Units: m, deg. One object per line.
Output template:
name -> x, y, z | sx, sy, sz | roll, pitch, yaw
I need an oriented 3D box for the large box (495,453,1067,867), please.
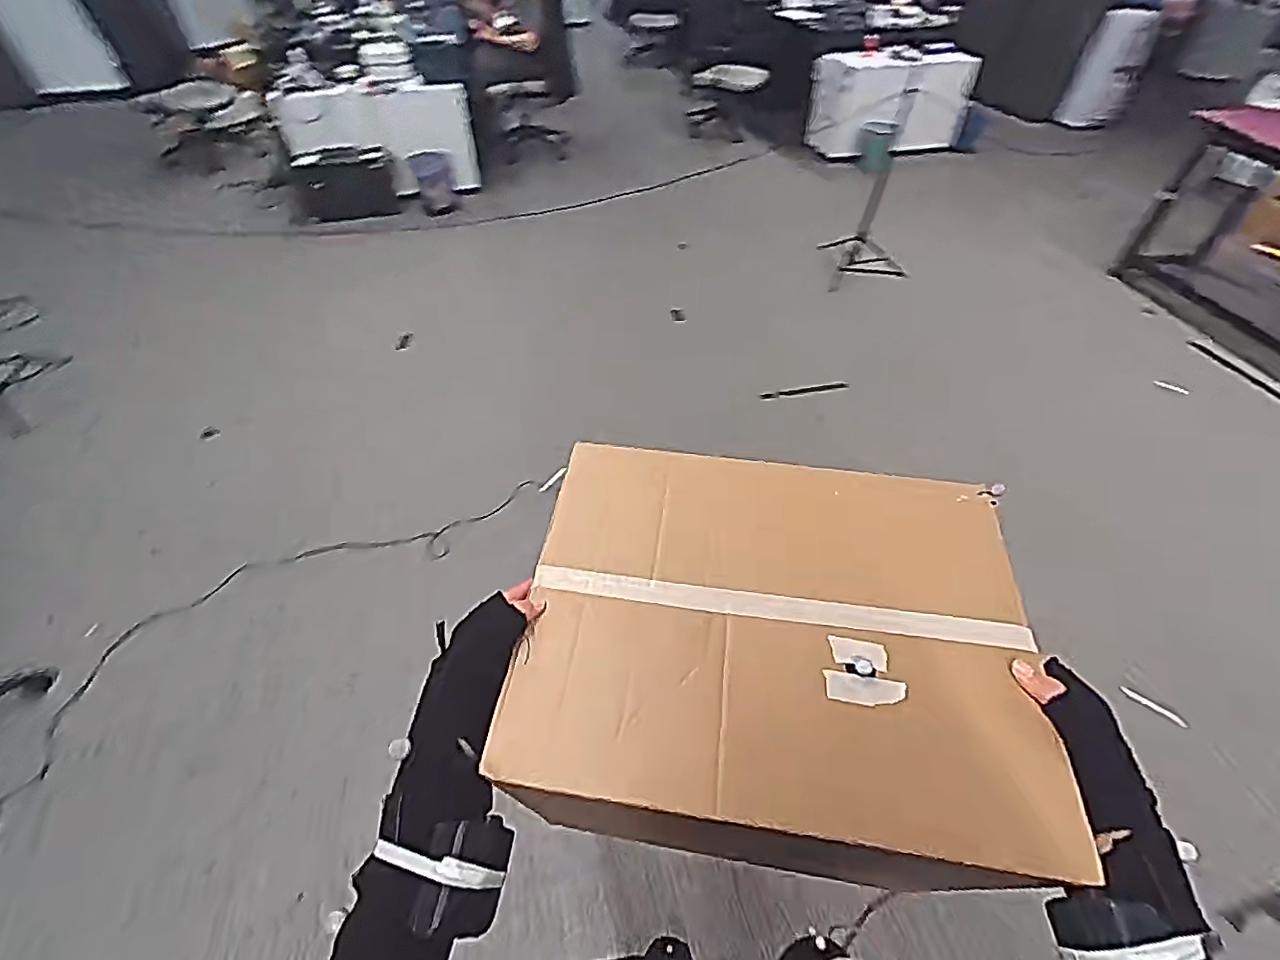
large box -> 0.107, 0.197, 0.580 | 0.408, 0.320, 0.320 | 6, 54, 5
